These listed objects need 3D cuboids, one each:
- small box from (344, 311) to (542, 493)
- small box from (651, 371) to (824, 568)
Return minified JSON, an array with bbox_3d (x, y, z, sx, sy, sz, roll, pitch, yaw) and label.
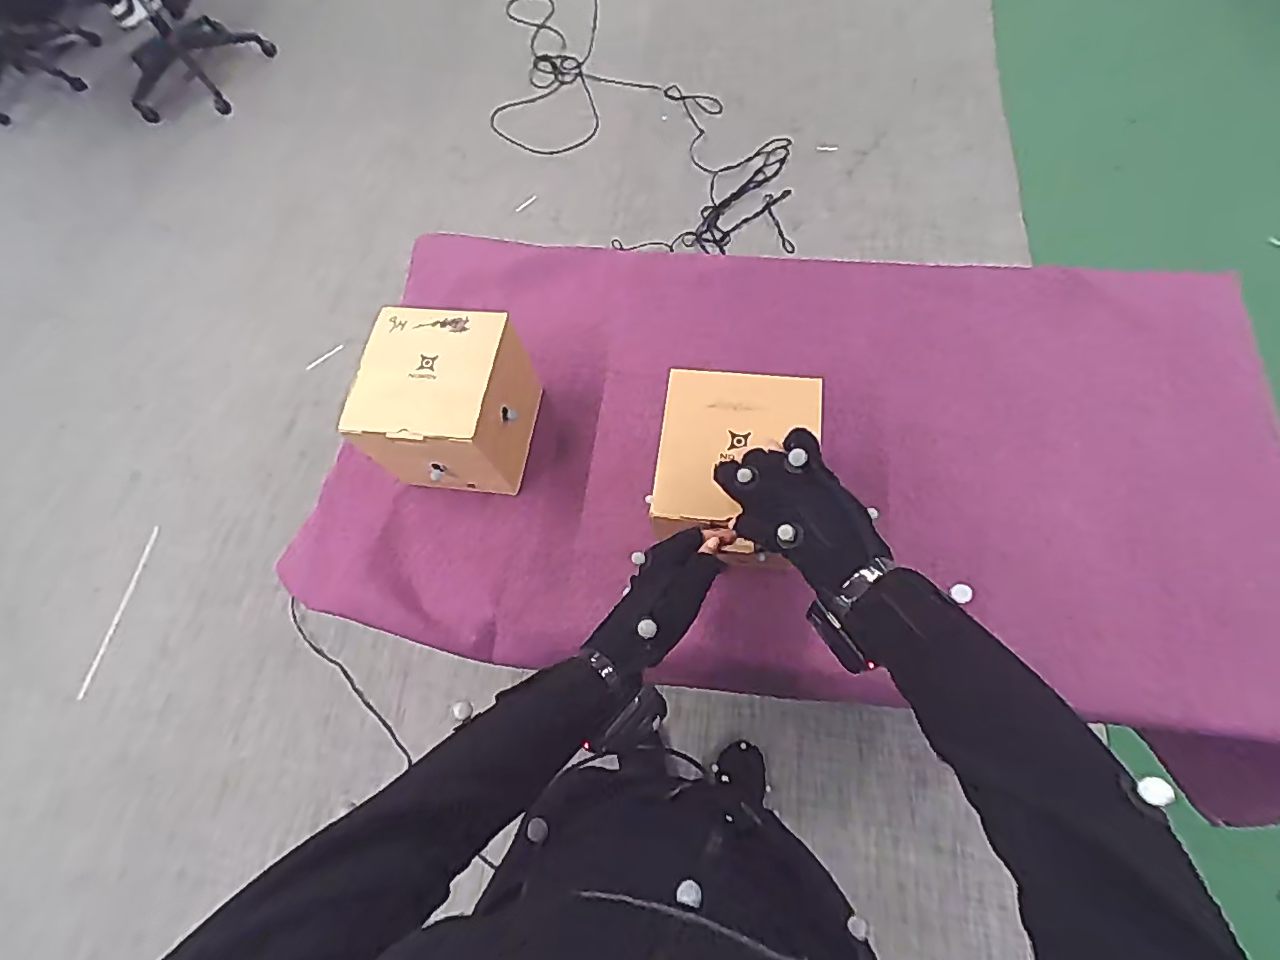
[{"bbox_3d":[-0.239,-0.094,0.705,0.168,0.176,0.179,5,69,8],"label":"small box"},{"bbox_3d":[0.112,-0.004,0.631,0.168,0.176,0.179,6,68,8],"label":"small box"}]
